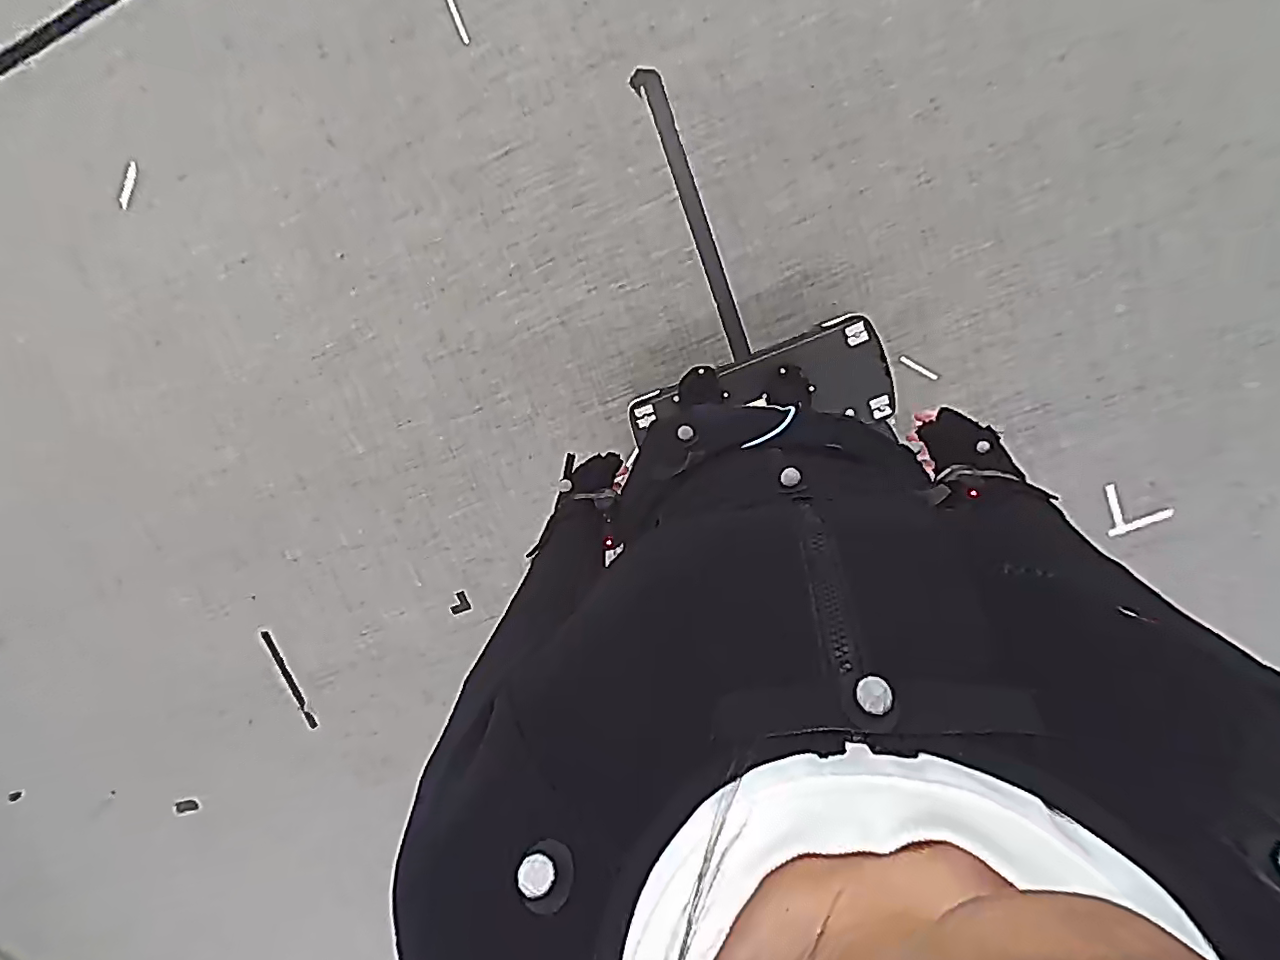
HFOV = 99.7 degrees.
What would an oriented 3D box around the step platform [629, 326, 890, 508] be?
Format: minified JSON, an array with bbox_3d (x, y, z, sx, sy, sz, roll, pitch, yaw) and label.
[{"bbox_3d":[0.316,-0.168,1.497,0.684,0.204,0.286,-22,101,8],"label":"step platform"}]
